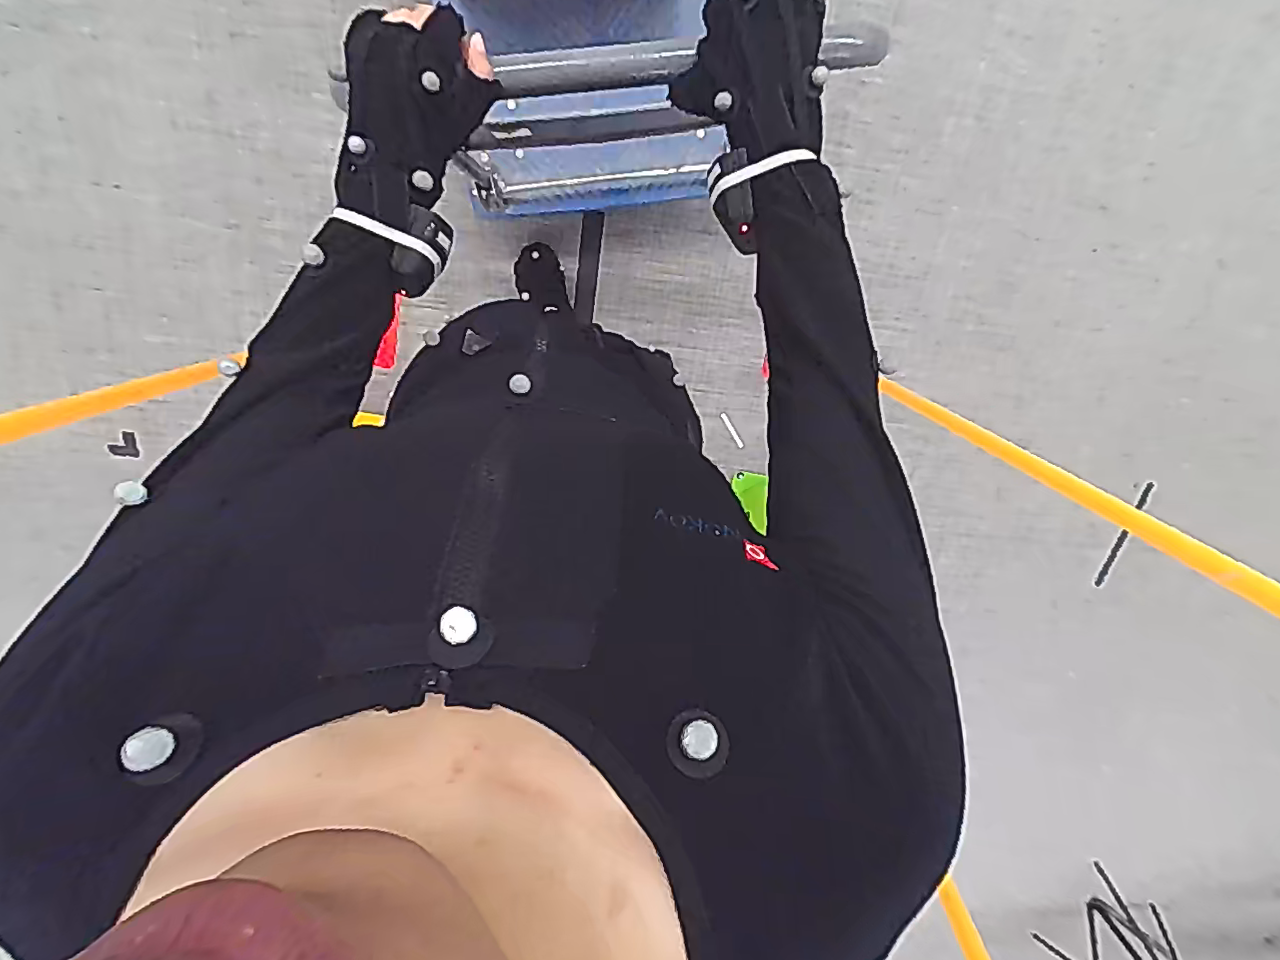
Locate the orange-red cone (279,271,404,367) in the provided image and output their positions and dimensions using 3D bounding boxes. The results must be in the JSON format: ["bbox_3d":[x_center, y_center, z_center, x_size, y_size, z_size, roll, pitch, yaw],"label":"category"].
[{"bbox_3d":[-0.665,-0.319,1.154,0.198,0.360,0.199,12,111,-11],"label":"orange-red cone"}]

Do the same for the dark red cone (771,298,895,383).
[{"bbox_3d":[0.466,-0.290,1.248,0.201,0.394,0.202,4,114,-9],"label":"dark red cone"}]

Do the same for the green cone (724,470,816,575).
[{"bbox_3d":[0.379,0.141,1.453,0.202,0.368,0.200,8,113,-10],"label":"green cone"}]
